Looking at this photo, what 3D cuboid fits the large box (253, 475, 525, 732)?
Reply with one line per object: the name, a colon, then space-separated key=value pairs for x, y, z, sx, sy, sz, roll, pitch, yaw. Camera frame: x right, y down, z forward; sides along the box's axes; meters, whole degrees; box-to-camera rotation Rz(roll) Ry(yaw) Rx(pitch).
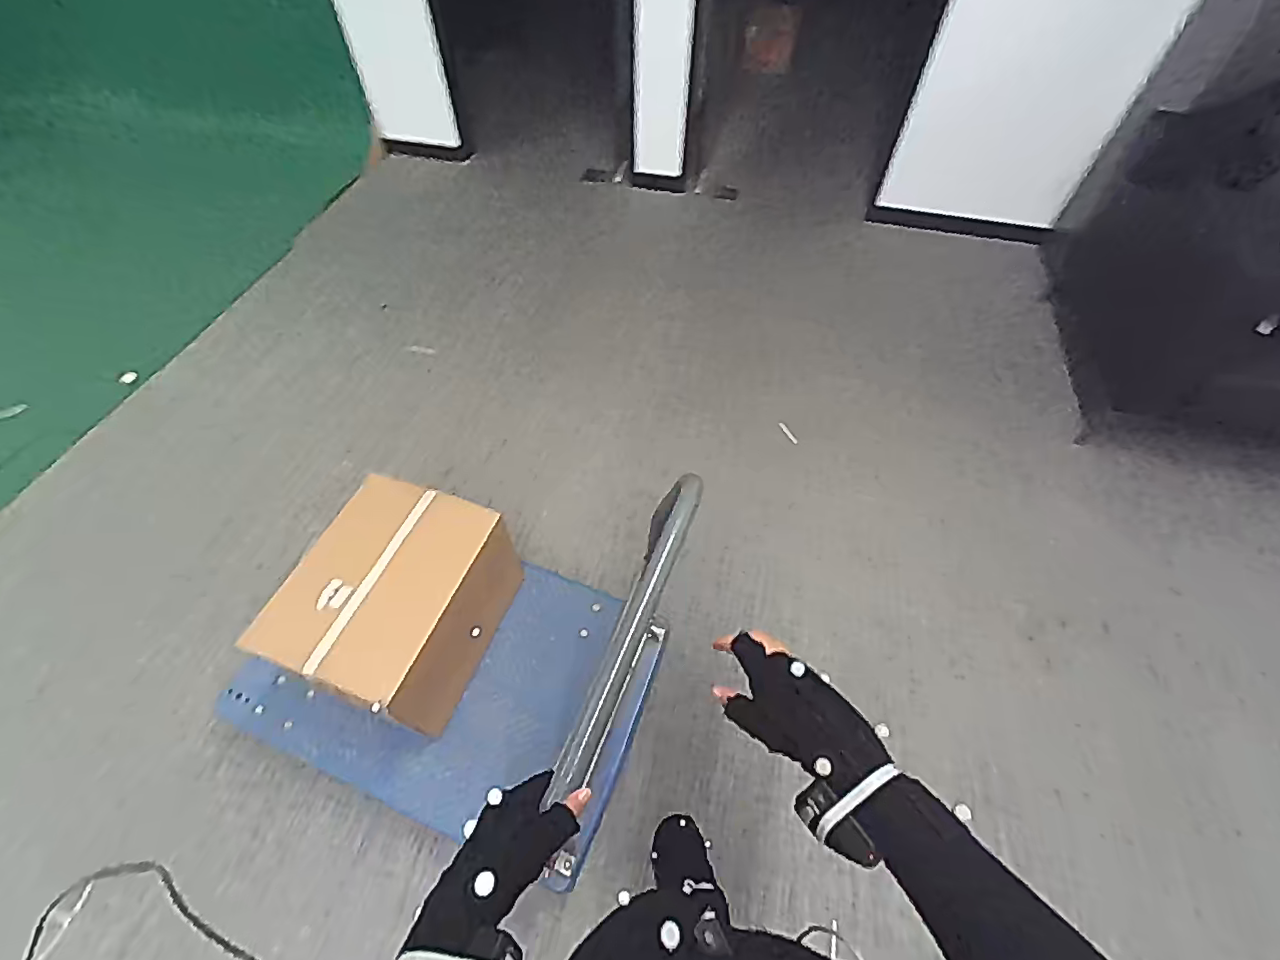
large box: x=-0.490 y=0.265 z=1.167 sx=0.320 sy=0.320 sz=0.408 roll=17 pitch=57 yaw=11
